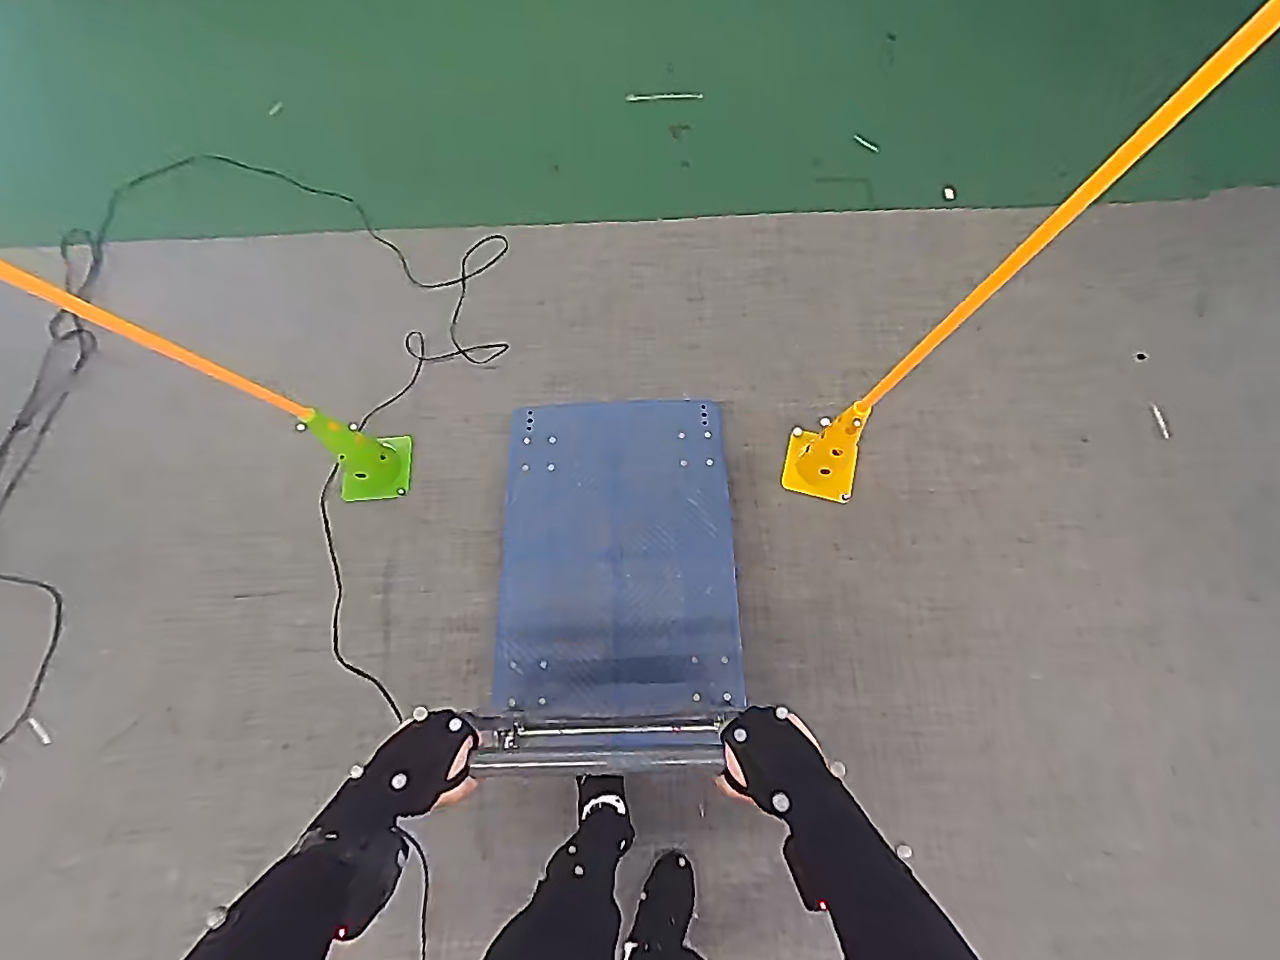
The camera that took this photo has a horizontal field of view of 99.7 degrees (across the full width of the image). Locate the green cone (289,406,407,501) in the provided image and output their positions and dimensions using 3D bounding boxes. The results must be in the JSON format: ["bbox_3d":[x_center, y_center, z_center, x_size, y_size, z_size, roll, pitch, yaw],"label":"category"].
[{"bbox_3d":[-0.811,-0.102,1.465,0.202,0.368,0.200,-6,69,1],"label":"green cone"}]
